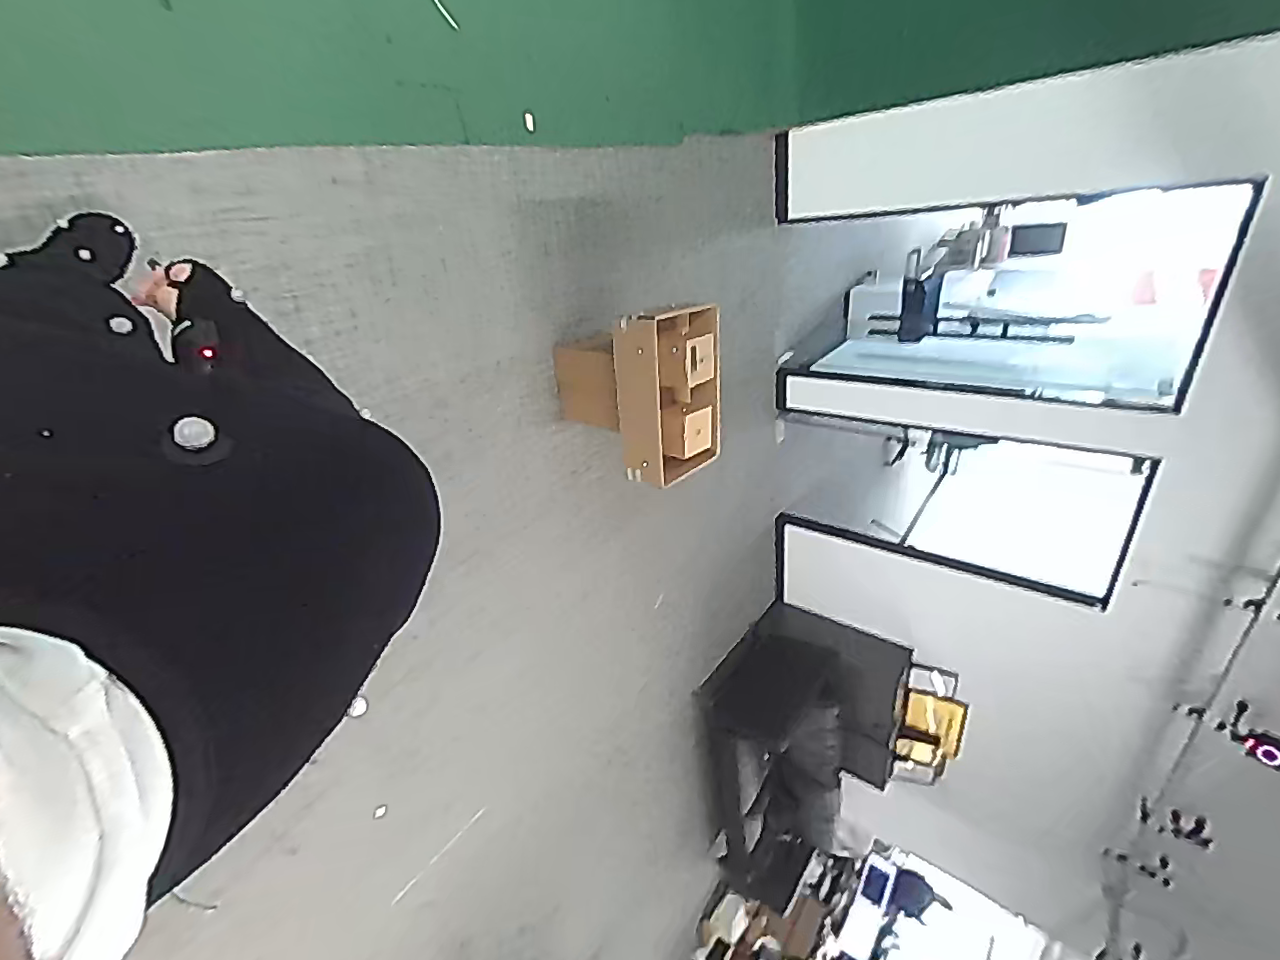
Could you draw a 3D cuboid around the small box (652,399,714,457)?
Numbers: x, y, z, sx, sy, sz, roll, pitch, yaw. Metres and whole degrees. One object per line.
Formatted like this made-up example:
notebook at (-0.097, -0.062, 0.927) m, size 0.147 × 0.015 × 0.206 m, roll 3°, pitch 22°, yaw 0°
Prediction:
small box at (0.164, -0.205, 2.059) m, size 0.179 × 0.176 × 0.168 m, roll -27°, pitch 123°, yaw -43°
